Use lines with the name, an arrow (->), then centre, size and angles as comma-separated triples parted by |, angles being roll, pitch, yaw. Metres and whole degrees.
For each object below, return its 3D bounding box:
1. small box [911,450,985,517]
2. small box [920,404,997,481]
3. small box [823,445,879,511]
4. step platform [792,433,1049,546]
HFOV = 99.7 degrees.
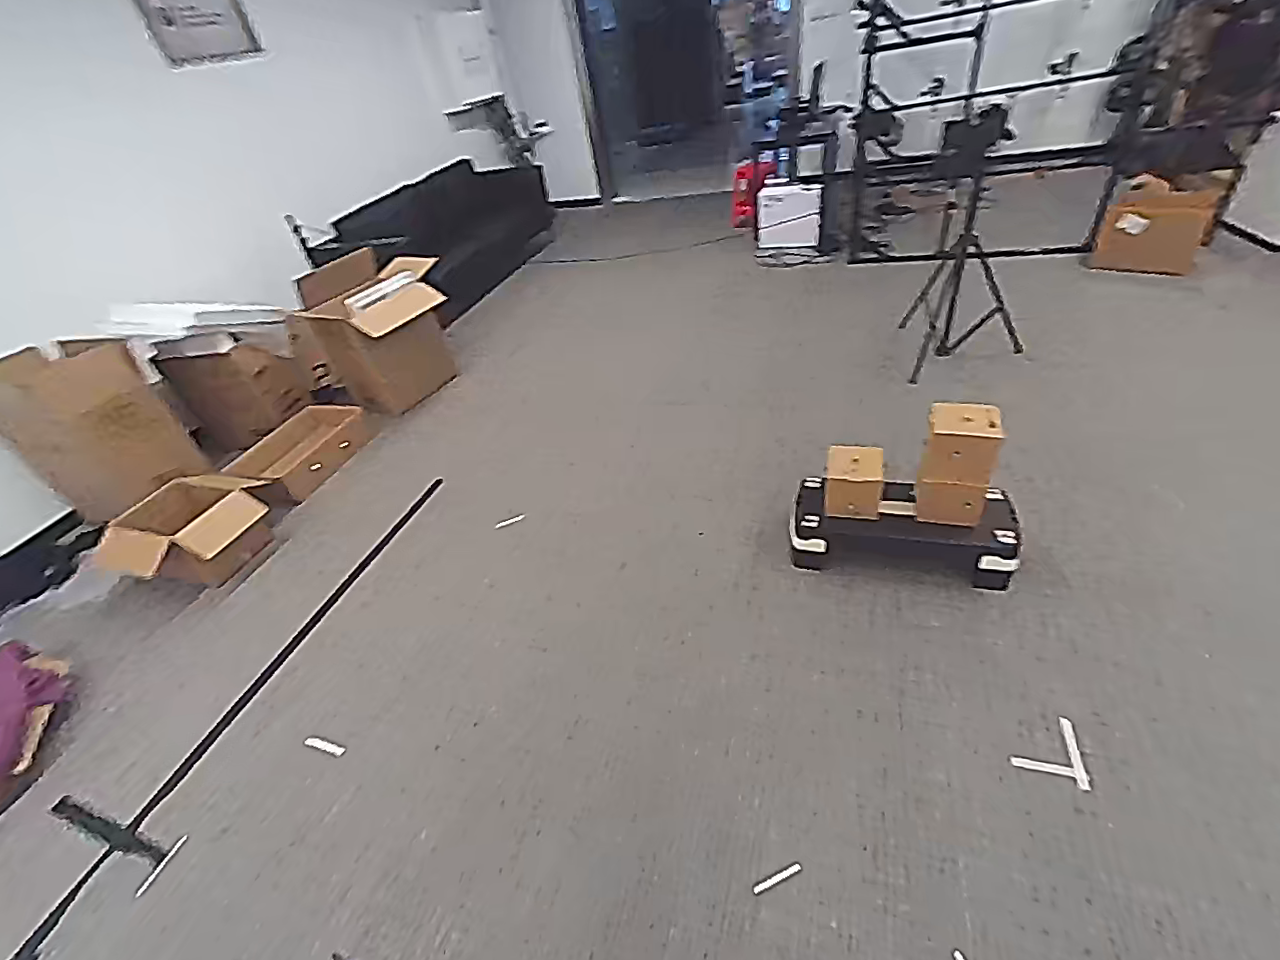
small box -> 0.957, 0.025, 1.703 | 0.179, 0.176, 0.168 | 4, 41, 19
small box -> 0.941, -0.112, 1.614 | 0.179, 0.176, 0.168 | 6, 42, 22
small box -> 0.692, 0.005, 1.792 | 0.168, 0.176, 0.179 | 4, 42, 18
step platform -> 0.828, 0.021, 1.684 | 0.684, 0.204, 0.286 | 4, 41, 18
